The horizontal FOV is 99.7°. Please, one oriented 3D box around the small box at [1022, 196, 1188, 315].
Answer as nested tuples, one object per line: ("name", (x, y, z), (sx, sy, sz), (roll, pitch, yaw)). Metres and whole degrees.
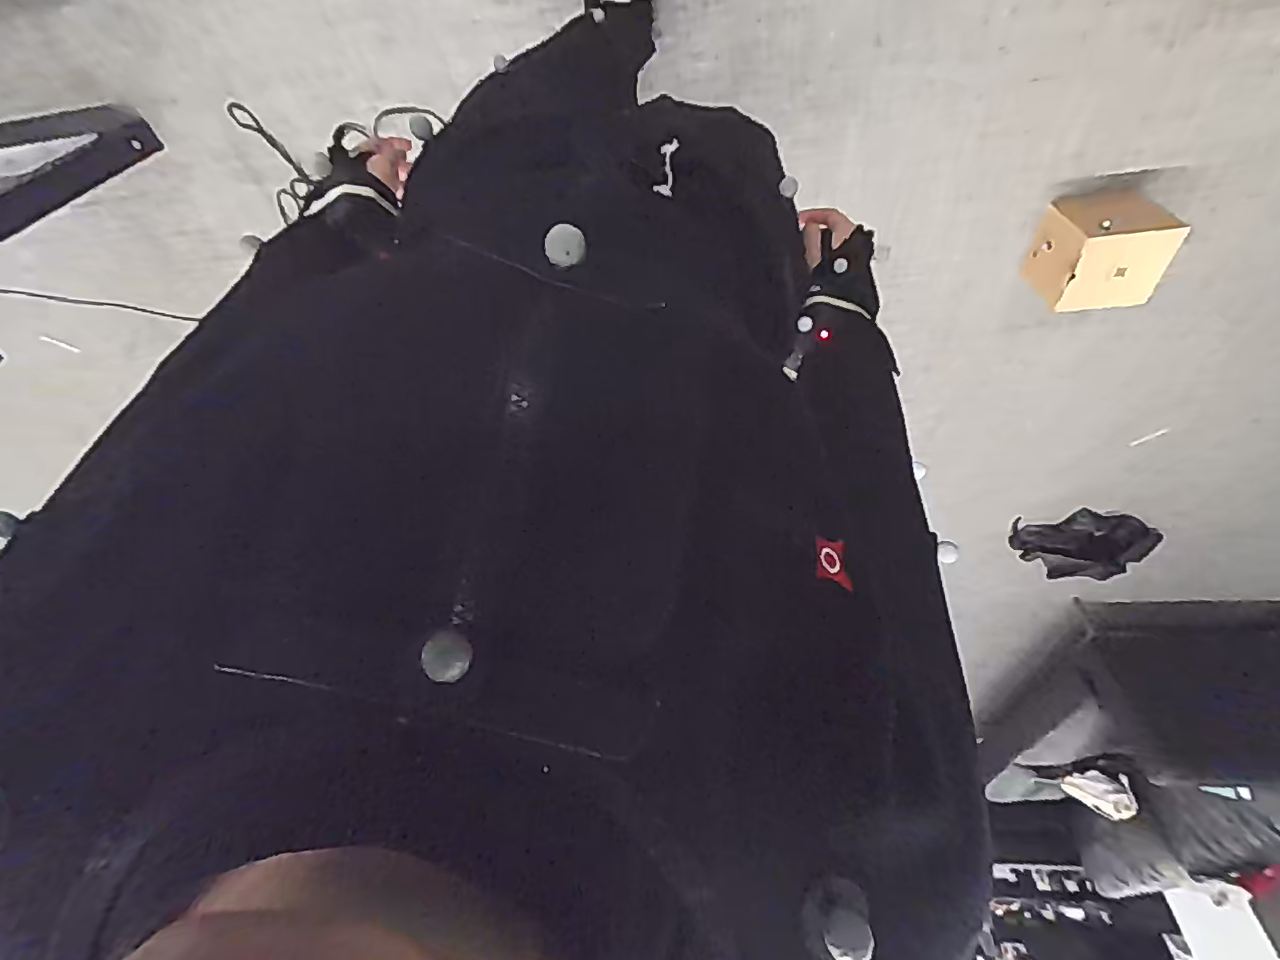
("small box", (0.949, -0.469, 1.125), (0.179, 0.176, 0.168), (-3, 139, 8))
